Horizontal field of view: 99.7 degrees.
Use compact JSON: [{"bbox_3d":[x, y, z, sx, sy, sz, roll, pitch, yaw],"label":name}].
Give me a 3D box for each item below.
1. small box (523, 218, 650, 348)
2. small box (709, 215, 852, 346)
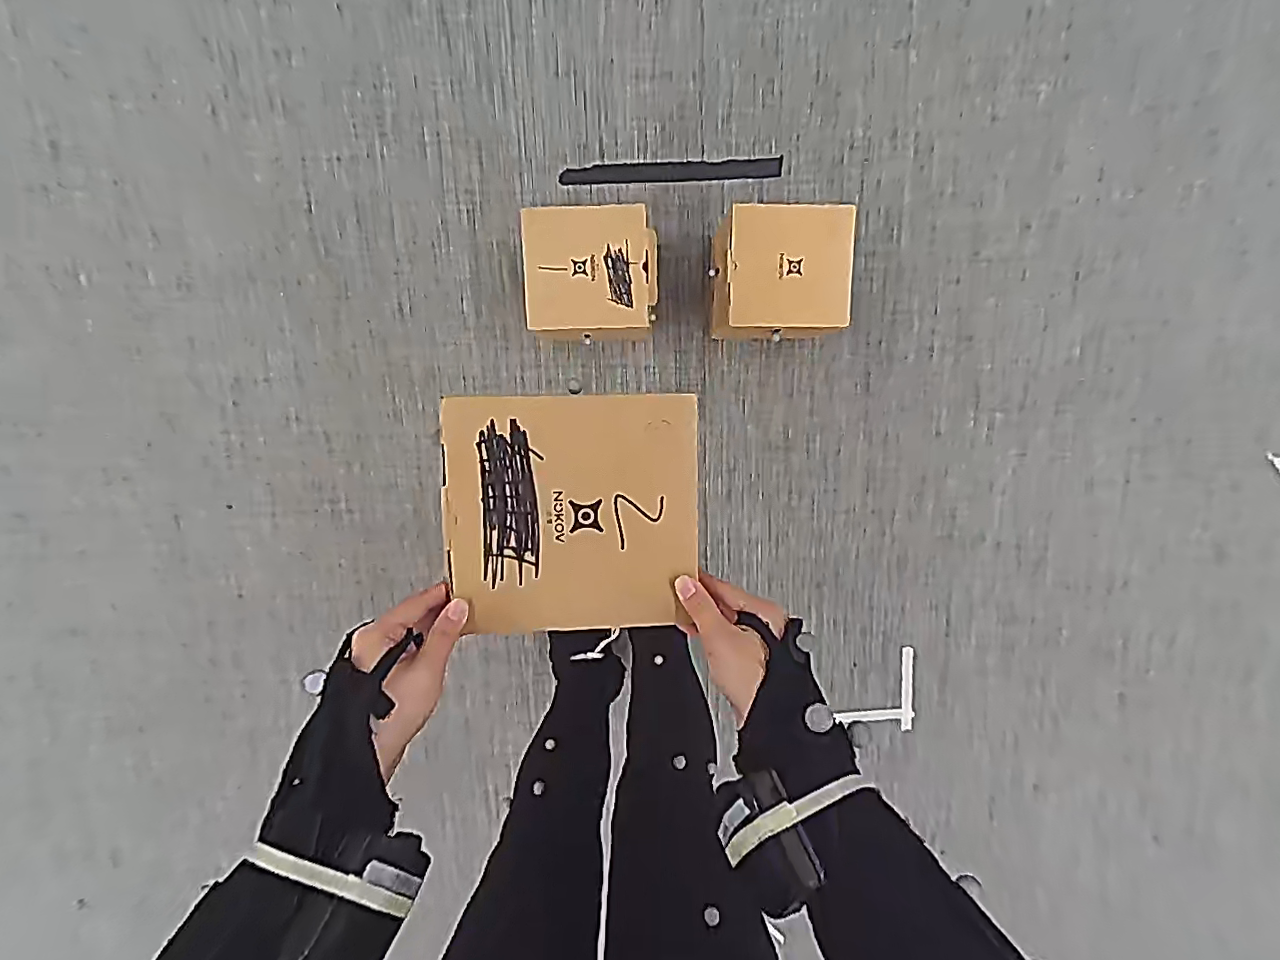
[{"bbox_3d":[-0.075,-0.296,0.841,0.179,0.176,0.168,-1,100,0],"label":"small box"},{"bbox_3d":[0.209,-0.302,0.845,0.179,0.176,0.168,0,99,0],"label":"small box"}]
